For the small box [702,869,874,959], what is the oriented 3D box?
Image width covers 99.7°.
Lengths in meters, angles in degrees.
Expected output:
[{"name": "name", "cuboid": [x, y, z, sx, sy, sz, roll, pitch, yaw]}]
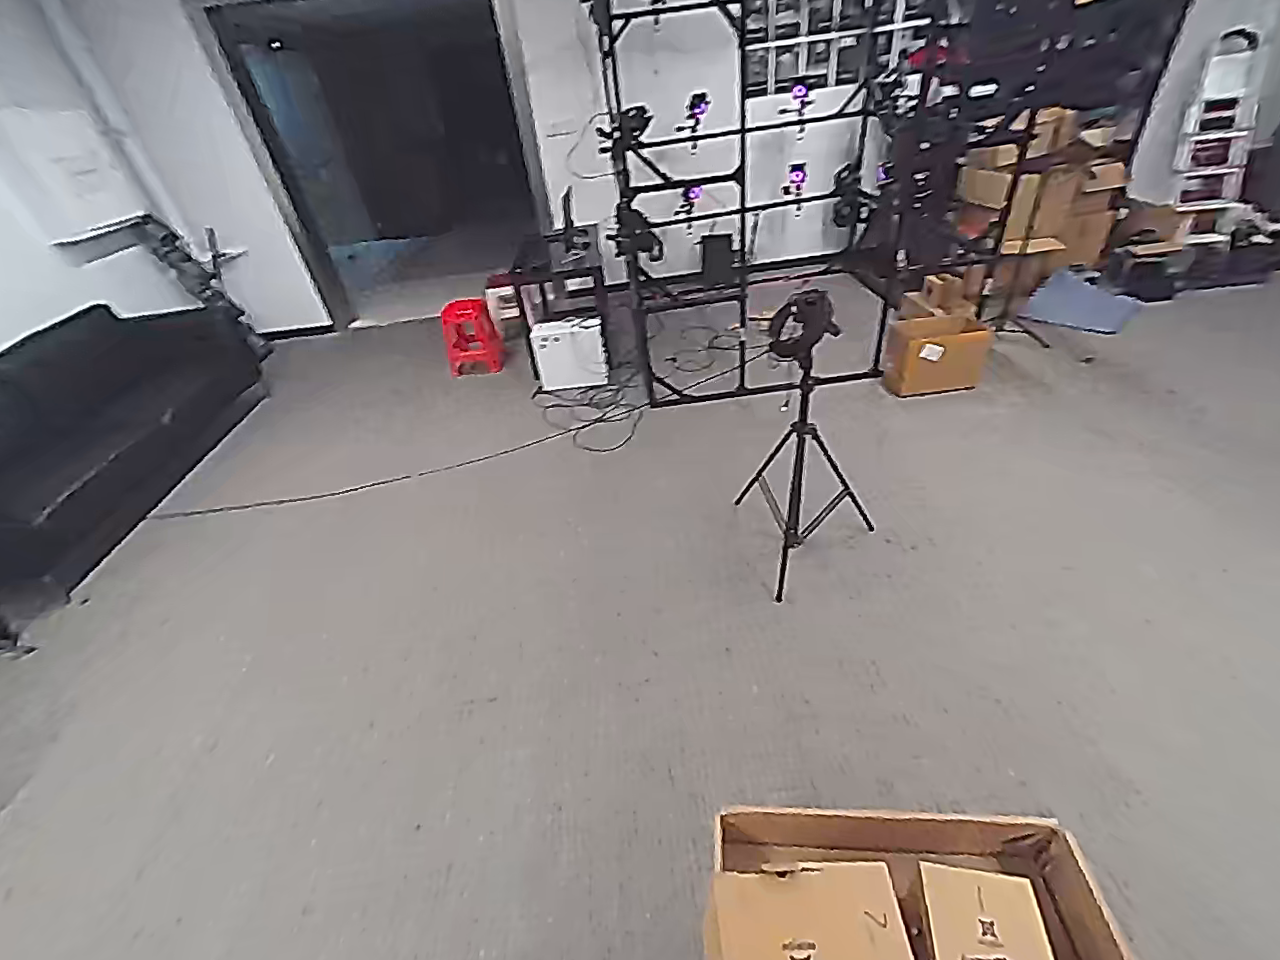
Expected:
[{"name": "small box", "cuboid": [0.164, 0.573, 0.602, 0.168, 0.176, 0.179, -2, 32, -2]}]
